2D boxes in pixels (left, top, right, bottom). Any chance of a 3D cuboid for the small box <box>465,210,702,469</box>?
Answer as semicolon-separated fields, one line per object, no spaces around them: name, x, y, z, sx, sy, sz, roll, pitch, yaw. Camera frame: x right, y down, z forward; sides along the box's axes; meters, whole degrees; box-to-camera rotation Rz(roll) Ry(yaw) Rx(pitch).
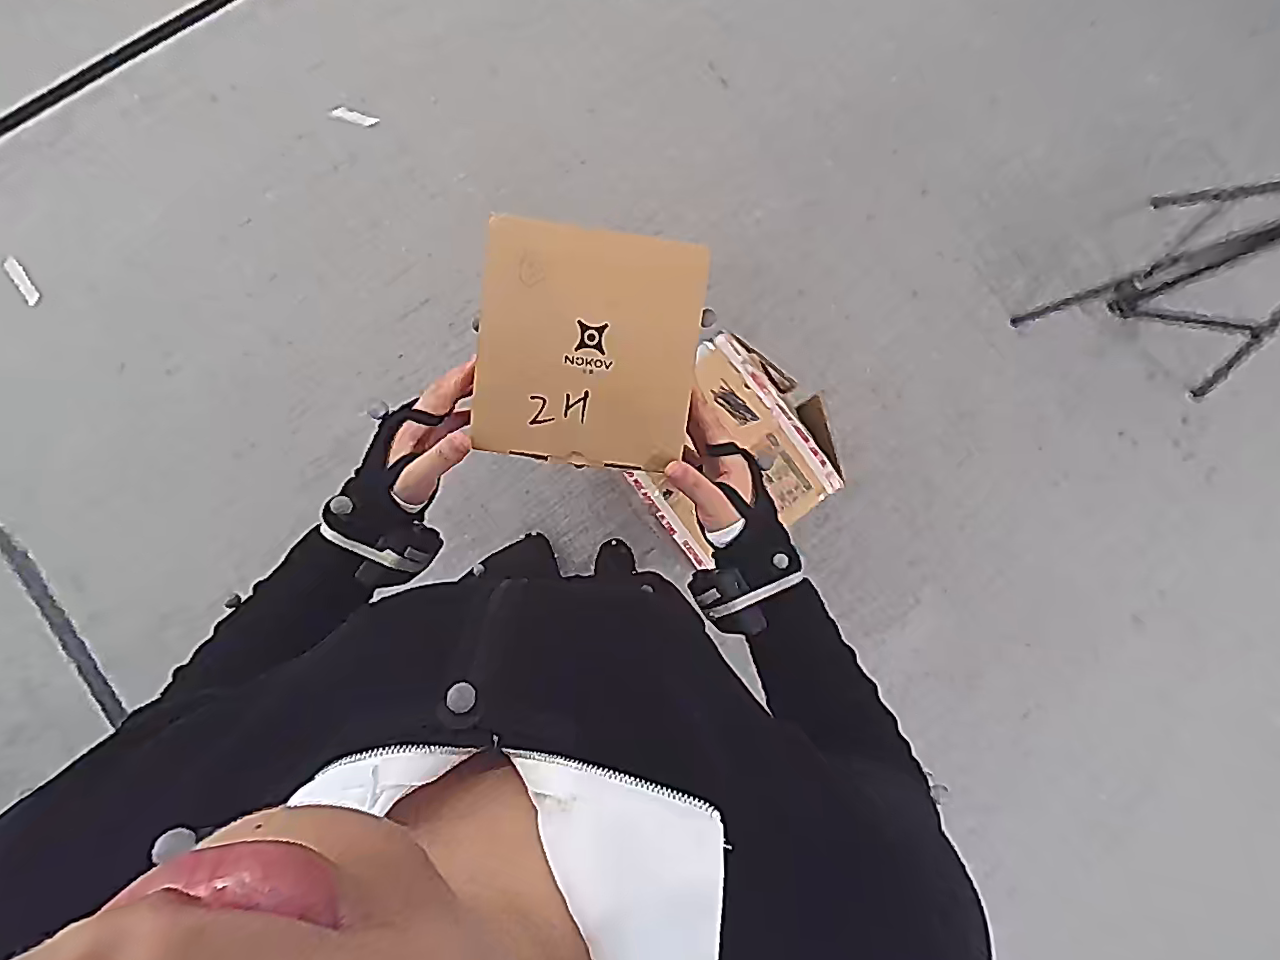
small box;-0.049;-0.112;0.487;0.168;0.176;0.179;6;97;-4

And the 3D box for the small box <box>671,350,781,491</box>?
small box;0.115;-0.096;0.957;0.179;0.176;0.168;-37;86;-1
